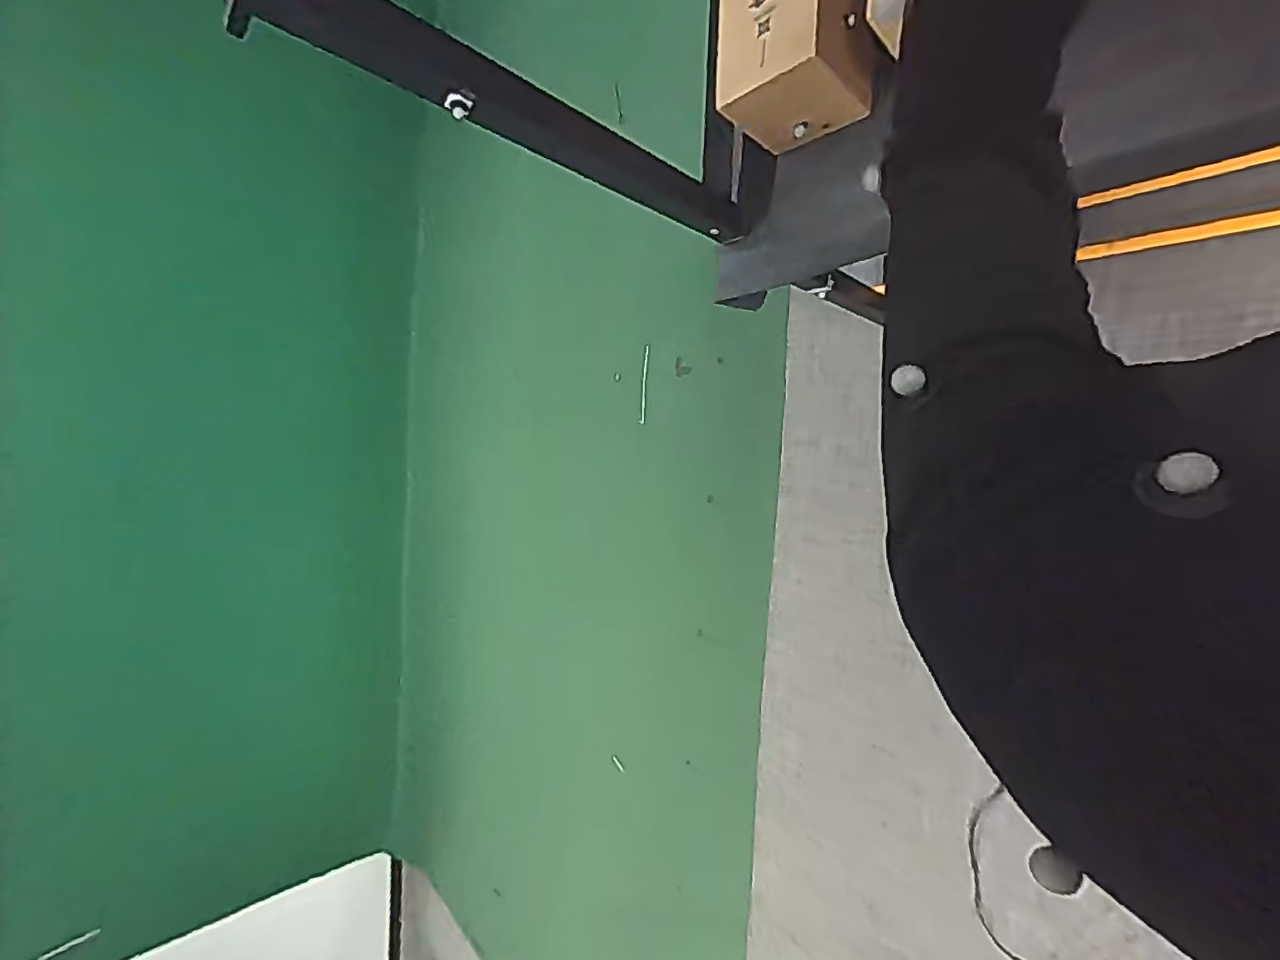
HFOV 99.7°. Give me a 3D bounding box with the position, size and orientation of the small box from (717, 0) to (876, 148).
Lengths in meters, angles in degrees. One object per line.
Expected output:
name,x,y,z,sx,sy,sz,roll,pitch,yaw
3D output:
small box,0.235,-0.642,0.805,0.168,0.176,0.179,5,94,46

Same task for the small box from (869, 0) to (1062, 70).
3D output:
small box,0.394,-0.636,0.642,0.168,0.176,0.179,7,94,46
